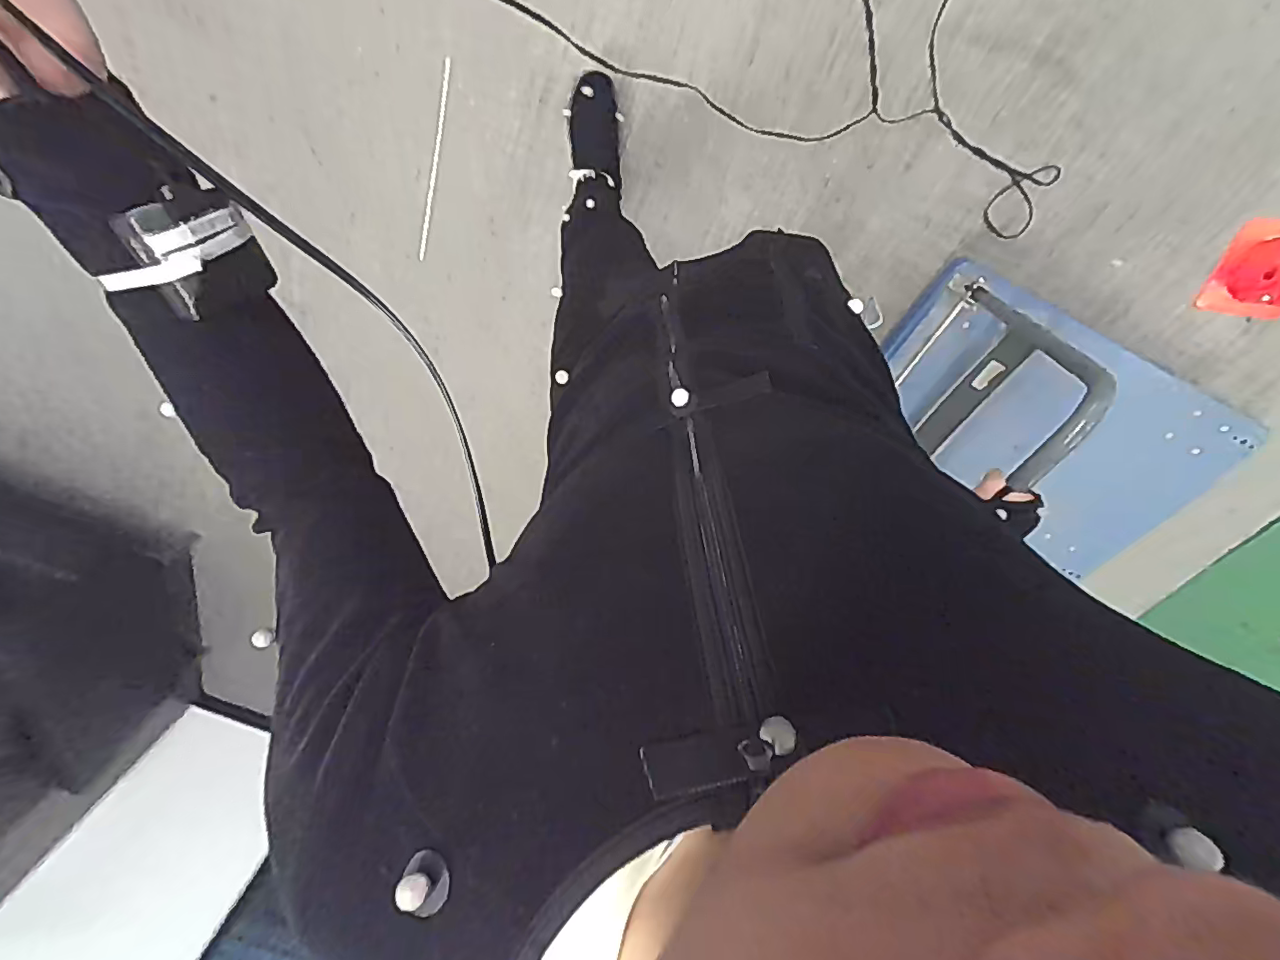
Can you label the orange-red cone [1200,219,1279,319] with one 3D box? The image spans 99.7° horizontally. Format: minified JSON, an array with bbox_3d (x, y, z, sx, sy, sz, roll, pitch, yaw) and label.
[{"bbox_3d":[1.400,-0.388,1.081,0.198,0.360,0.199,11,122,3],"label":"orange-red cone"}]
